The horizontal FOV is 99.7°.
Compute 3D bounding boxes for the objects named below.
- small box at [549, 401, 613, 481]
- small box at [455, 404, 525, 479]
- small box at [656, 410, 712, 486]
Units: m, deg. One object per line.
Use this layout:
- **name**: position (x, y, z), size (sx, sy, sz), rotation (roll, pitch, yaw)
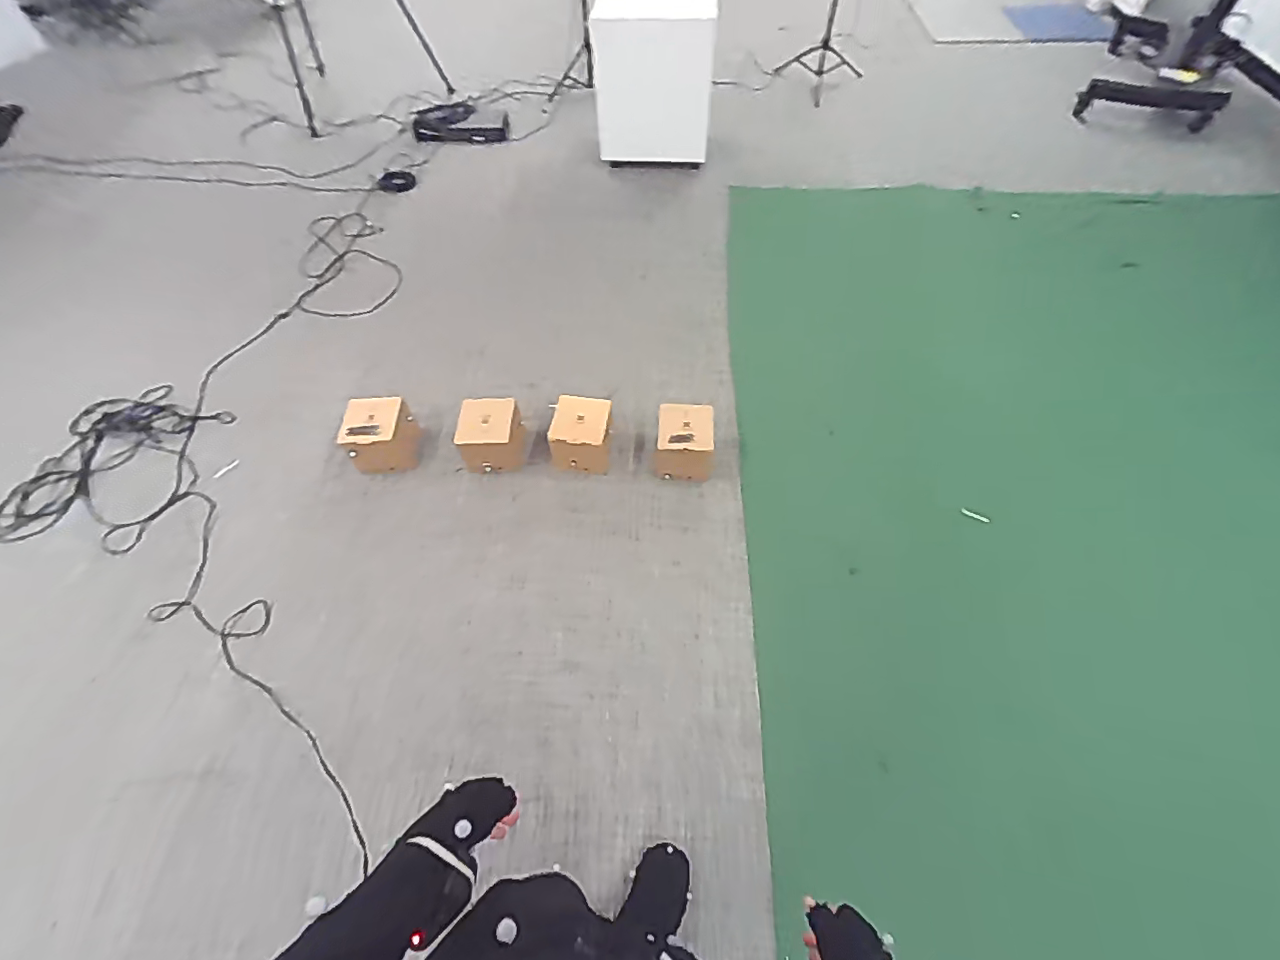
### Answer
- **small box**: position (-0.180, -0.122, 1.710), size (0.168, 0.176, 0.179), rotation (7, 58, 5)
- **small box**: position (-0.465, -0.121, 1.712), size (0.168, 0.176, 0.179), rotation (-2, 59, 2)
- **small box**: position (0.137, -0.096, 1.689), size (0.168, 0.176, 0.179), rotation (3, 57, 3)
